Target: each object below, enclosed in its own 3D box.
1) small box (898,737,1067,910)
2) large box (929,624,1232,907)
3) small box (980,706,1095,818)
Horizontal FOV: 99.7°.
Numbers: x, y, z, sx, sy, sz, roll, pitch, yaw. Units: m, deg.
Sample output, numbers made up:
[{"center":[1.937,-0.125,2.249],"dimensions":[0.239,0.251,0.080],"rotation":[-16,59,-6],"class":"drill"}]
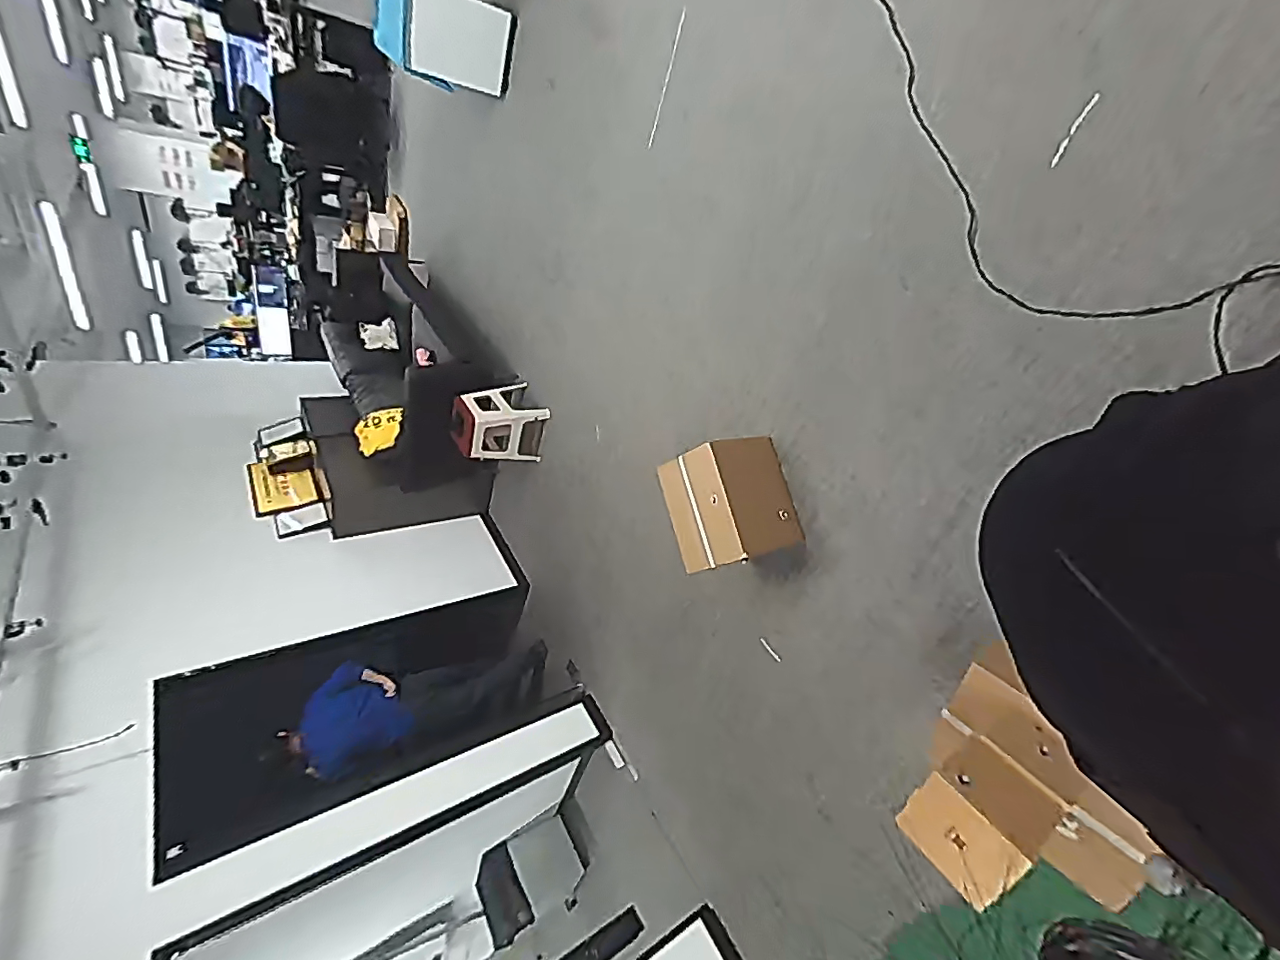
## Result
[{"center":[0.618,0.607,0.977],"dimensions":[0.179,0.176,0.168],"rotation":[43,129,41],"class":"small box"},{"center":[0.956,0.591,1.208],"dimensions":[0.408,0.320,0.320],"rotation":[34,124,43],"class":"large box"},{"center":[0.750,0.584,1.067],"dimensions":[0.168,0.176,0.179],"rotation":[42,128,42],"class":"small box"}]
